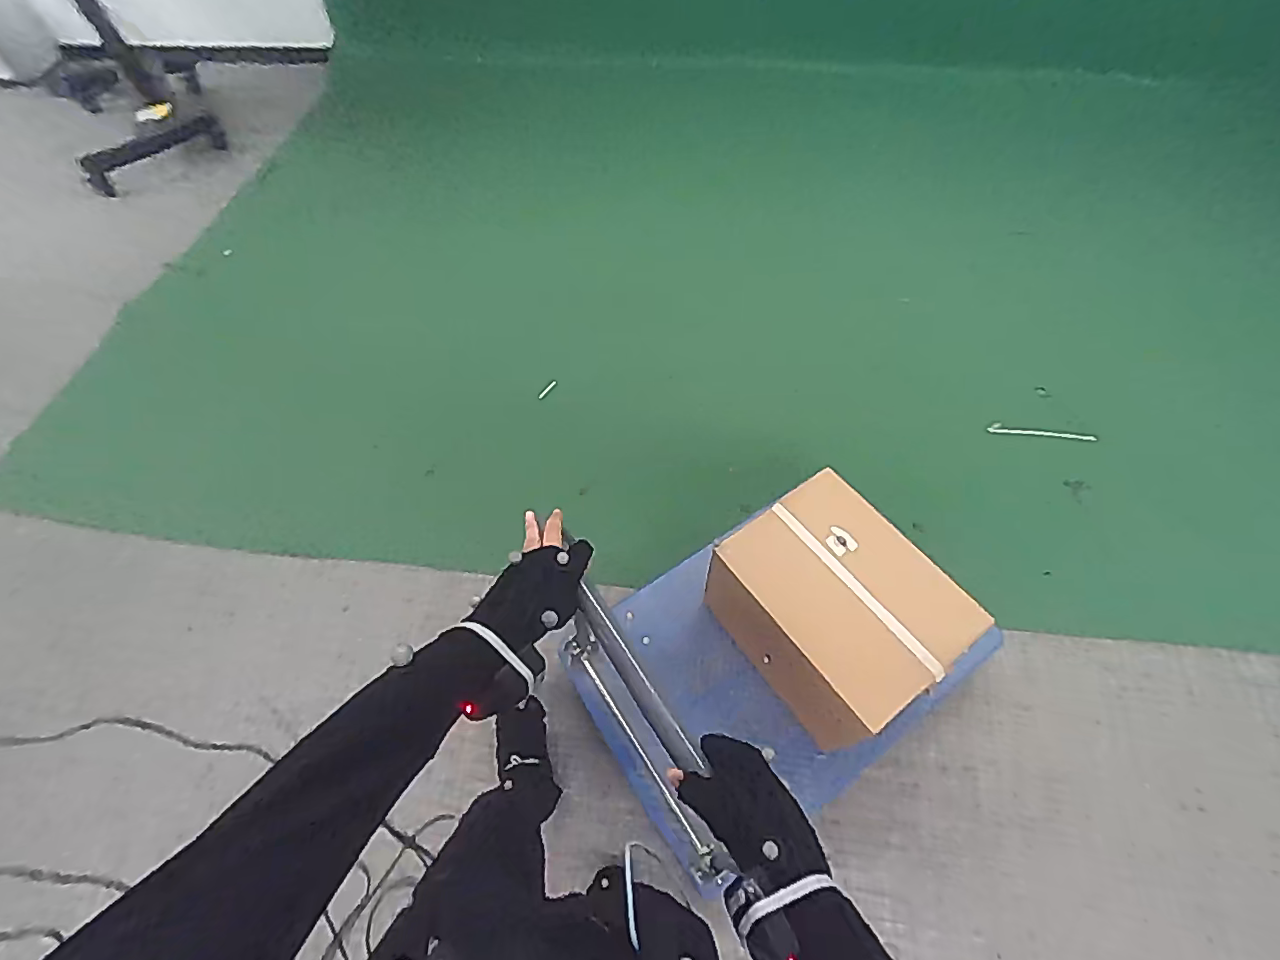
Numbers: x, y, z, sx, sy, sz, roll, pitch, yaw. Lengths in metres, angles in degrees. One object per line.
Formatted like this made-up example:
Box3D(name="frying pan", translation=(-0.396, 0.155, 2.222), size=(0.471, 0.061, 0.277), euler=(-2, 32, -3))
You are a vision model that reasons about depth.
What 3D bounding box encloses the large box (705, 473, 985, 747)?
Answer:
Box3D(name="large box", translation=(0.384, 0.273, 1.129), size=(0.320, 0.320, 0.408), euler=(-32, 62, -17))
